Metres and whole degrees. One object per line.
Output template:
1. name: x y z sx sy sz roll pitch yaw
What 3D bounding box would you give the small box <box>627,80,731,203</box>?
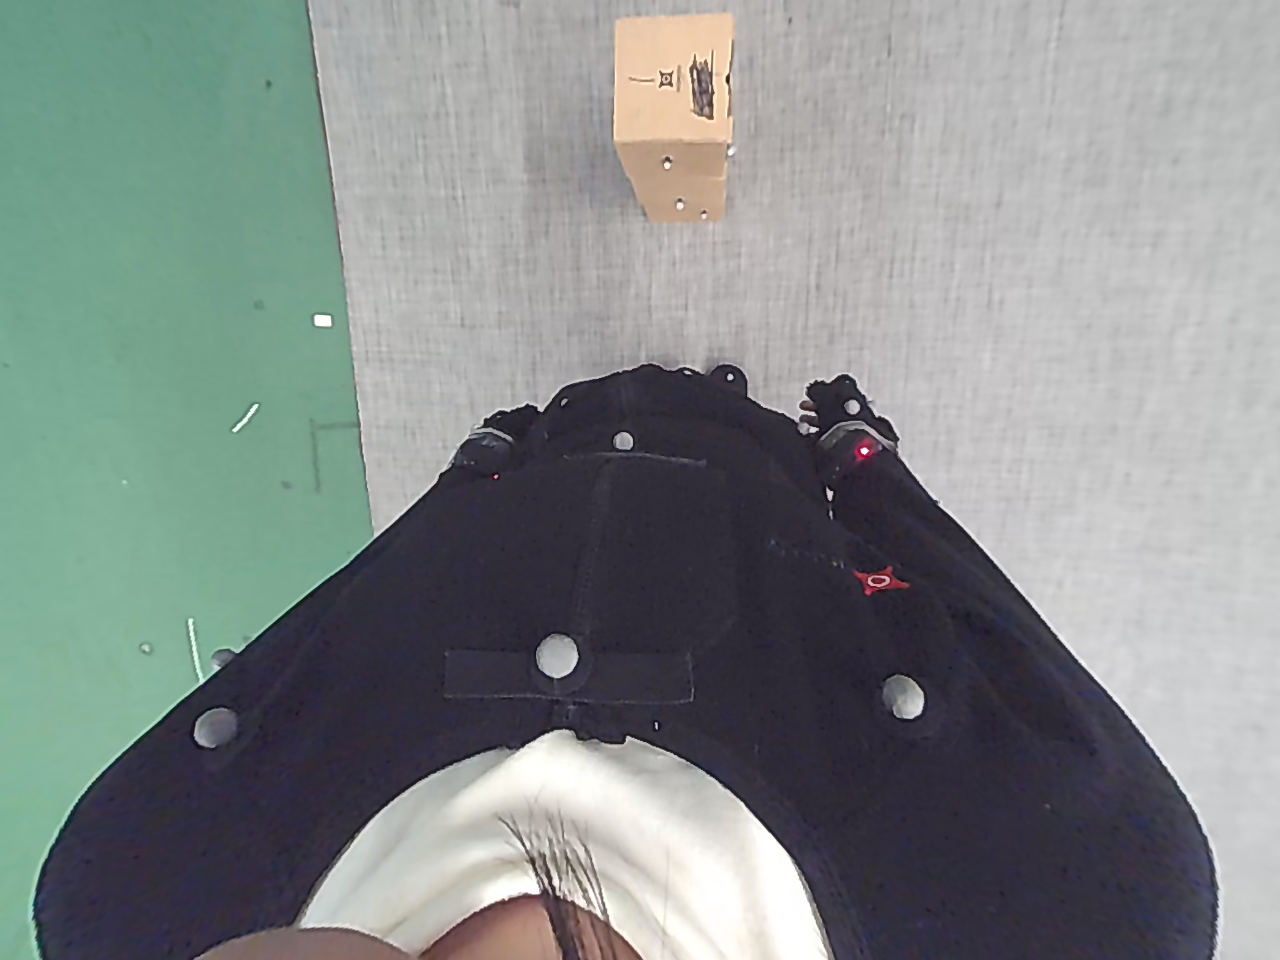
1. small box: 0.075 -0.646 1.040 0.179 0.176 0.168 5 103 5

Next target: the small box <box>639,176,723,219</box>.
1. small box: 0.094 -0.688 1.197 0.179 0.176 0.168 2 102 8

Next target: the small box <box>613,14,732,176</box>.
1. small box: 0.053 -0.612 0.880 0.179 0.176 0.168 0 103 5
